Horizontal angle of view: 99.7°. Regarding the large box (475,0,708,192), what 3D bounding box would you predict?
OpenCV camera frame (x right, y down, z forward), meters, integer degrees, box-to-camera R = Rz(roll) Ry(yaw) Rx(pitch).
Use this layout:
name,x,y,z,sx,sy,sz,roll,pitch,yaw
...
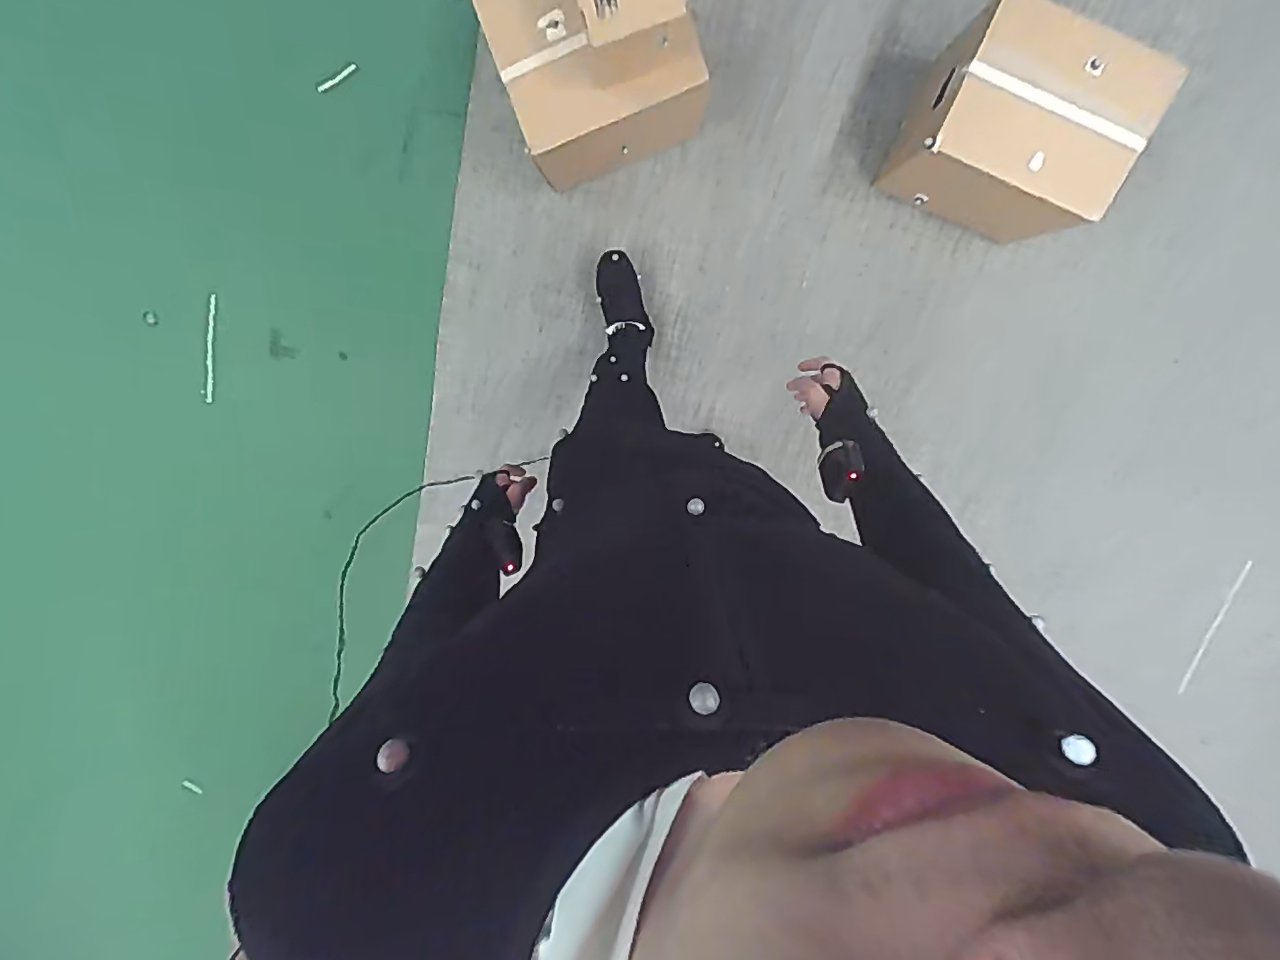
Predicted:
name,x,y,z,sx,sy,sz,roll,pitch,yaw
large box,-0.090,-0.927,1.238,0.408,0.320,0.320,-19,102,8
